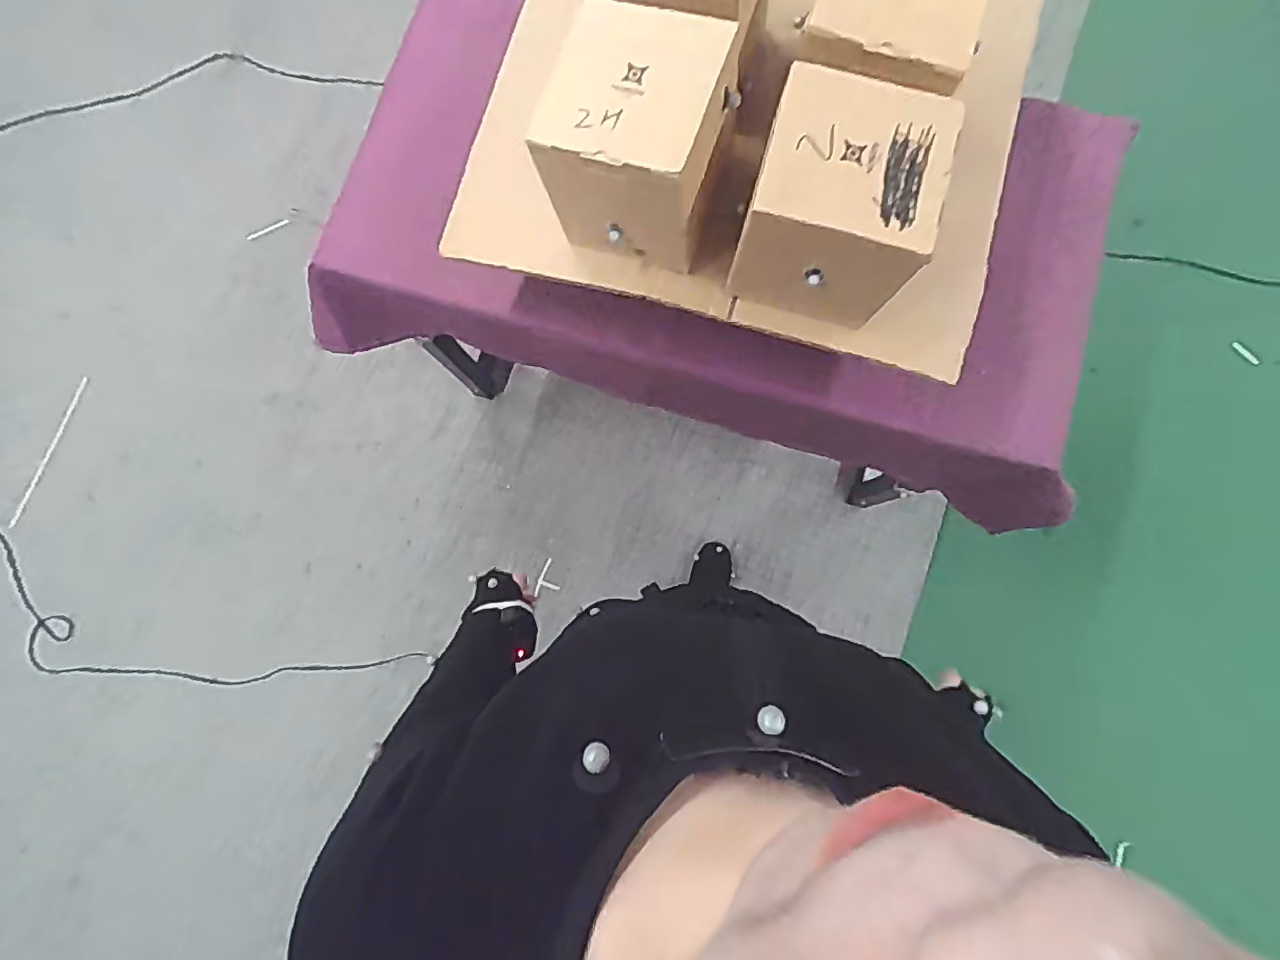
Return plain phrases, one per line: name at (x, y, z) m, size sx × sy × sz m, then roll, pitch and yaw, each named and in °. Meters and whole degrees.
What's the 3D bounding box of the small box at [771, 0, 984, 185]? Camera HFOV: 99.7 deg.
small box at (0.266, -0.491, 0.628) m, size 0.168 × 0.176 × 0.179 m, roll 18°, pitch 84°, yaw 2°
